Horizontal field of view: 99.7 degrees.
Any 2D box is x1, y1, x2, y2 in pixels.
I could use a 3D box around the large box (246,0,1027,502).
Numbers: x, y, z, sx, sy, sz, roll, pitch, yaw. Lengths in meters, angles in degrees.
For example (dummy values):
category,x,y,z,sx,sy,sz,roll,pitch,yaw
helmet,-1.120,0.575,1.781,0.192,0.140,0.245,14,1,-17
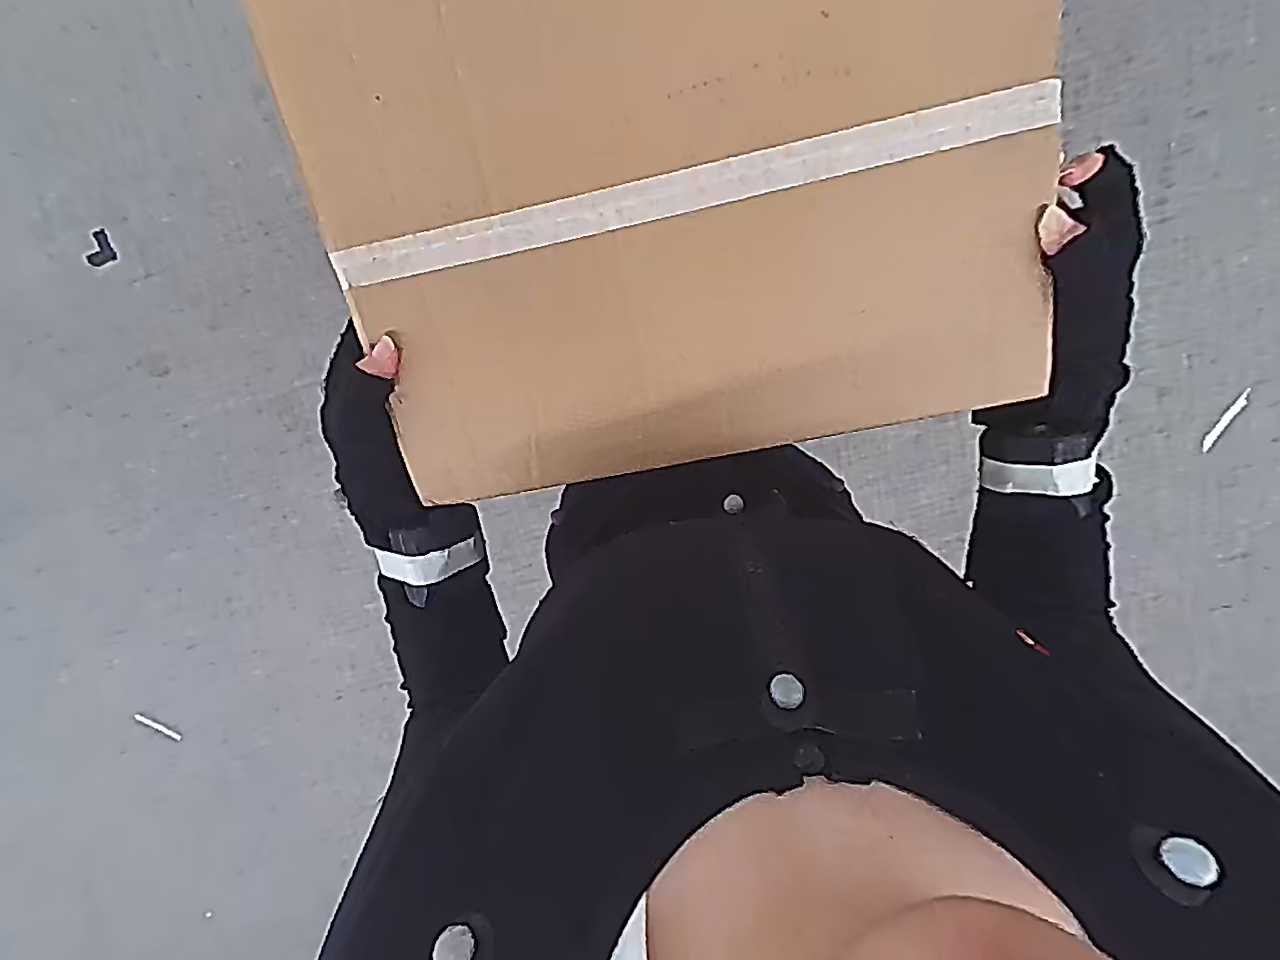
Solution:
category,x,y,z,sx,sy,sz,roll,pitch,yaw
large box,0.020,-0.212,0.452,0.408,0.320,0.320,-10,108,6
